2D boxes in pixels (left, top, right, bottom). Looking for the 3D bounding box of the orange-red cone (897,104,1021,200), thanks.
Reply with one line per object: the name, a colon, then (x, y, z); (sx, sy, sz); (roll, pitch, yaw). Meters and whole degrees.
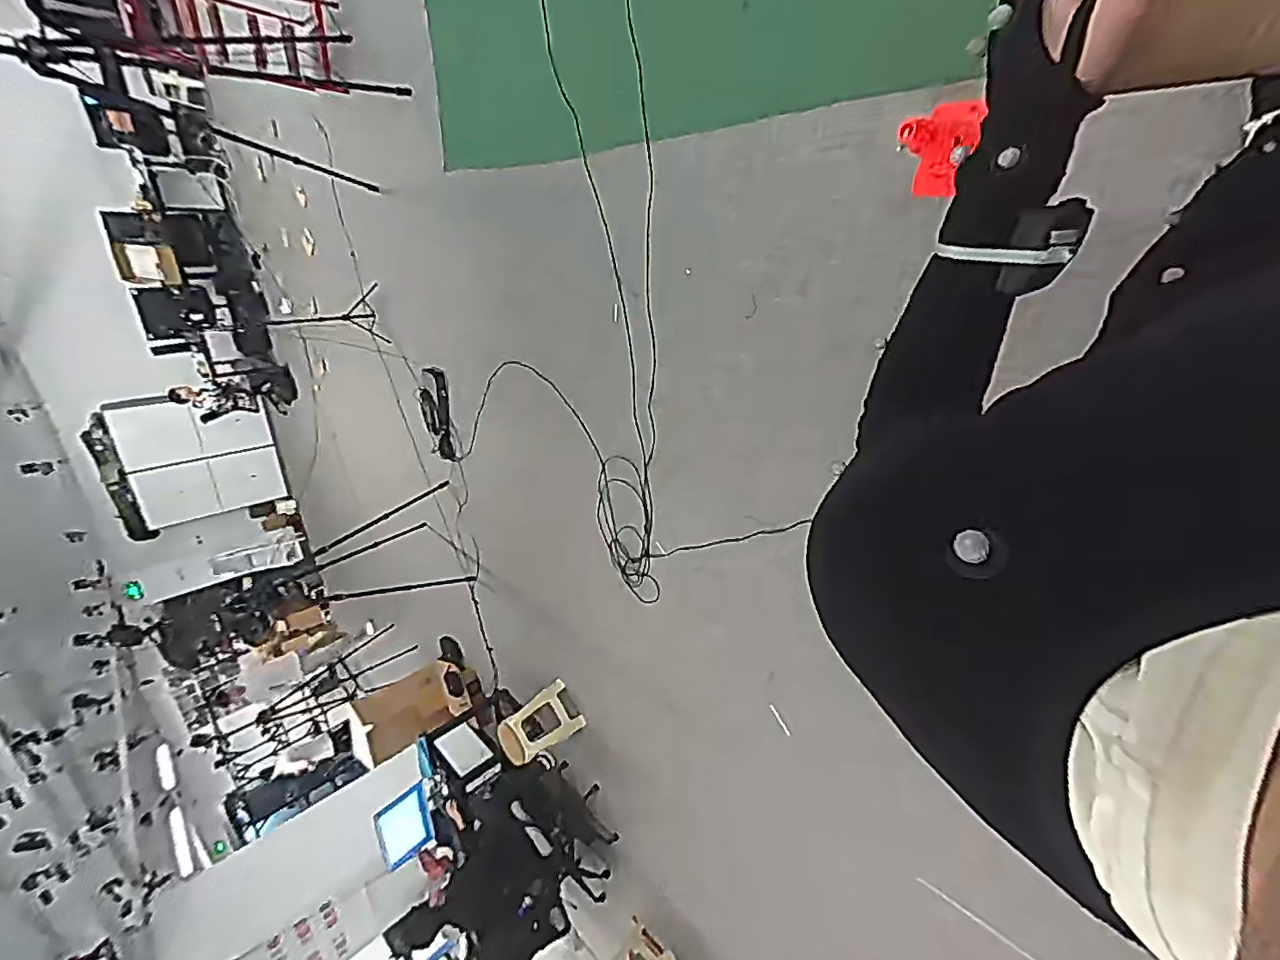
orange-red cone: (0.661, -0.750, 1.203); (0.199, 0.360, 0.198); (30, 126, 38)
